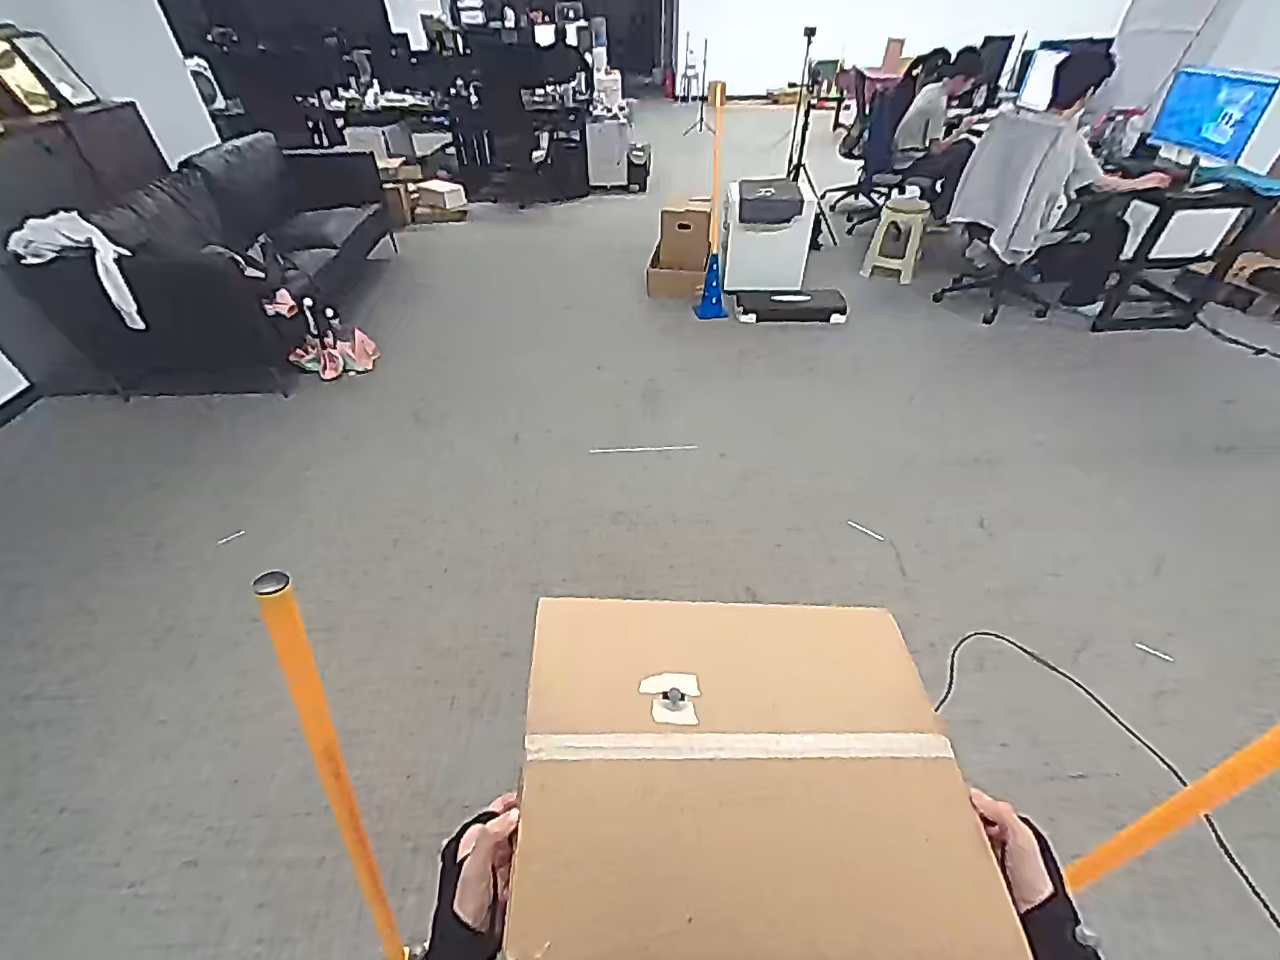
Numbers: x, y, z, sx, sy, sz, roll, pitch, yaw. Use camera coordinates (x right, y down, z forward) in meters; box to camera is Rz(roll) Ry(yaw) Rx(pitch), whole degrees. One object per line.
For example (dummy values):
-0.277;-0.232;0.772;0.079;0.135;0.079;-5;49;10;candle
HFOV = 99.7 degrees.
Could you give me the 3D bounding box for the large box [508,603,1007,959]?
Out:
0.080;0.355;0.619;0.408;0.320;0.320;2;46;-6;large box
